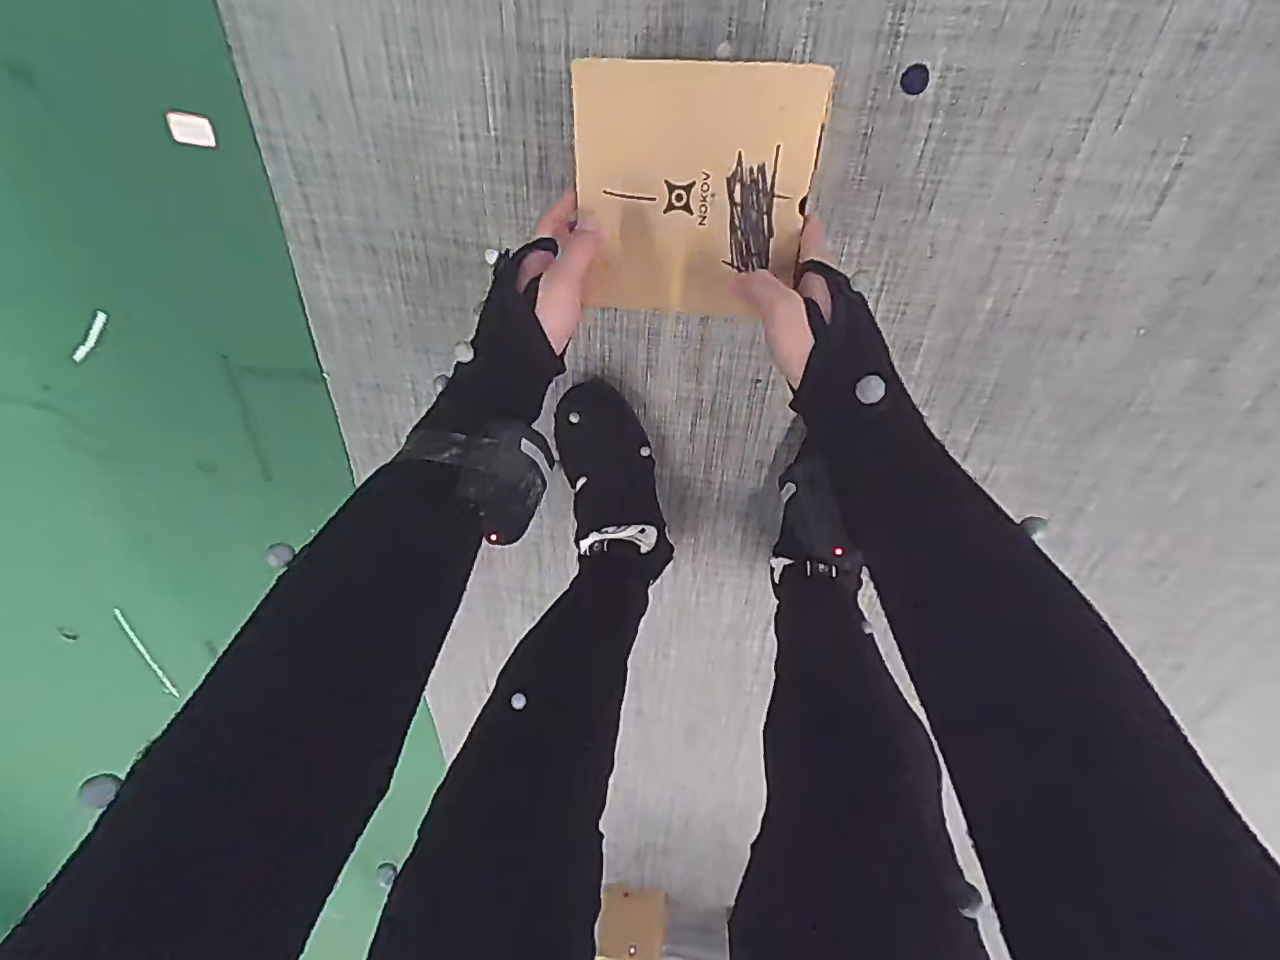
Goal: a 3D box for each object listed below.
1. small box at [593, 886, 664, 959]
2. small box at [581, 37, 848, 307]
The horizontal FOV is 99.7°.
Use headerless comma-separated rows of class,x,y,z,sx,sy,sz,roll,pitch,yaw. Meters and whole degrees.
small box,-0.025,1.273,1.507,0.168,0.176,0.179,1,124,10
small box,0.054,-0.259,0.458,0.179,0.176,0.168,7,124,6
